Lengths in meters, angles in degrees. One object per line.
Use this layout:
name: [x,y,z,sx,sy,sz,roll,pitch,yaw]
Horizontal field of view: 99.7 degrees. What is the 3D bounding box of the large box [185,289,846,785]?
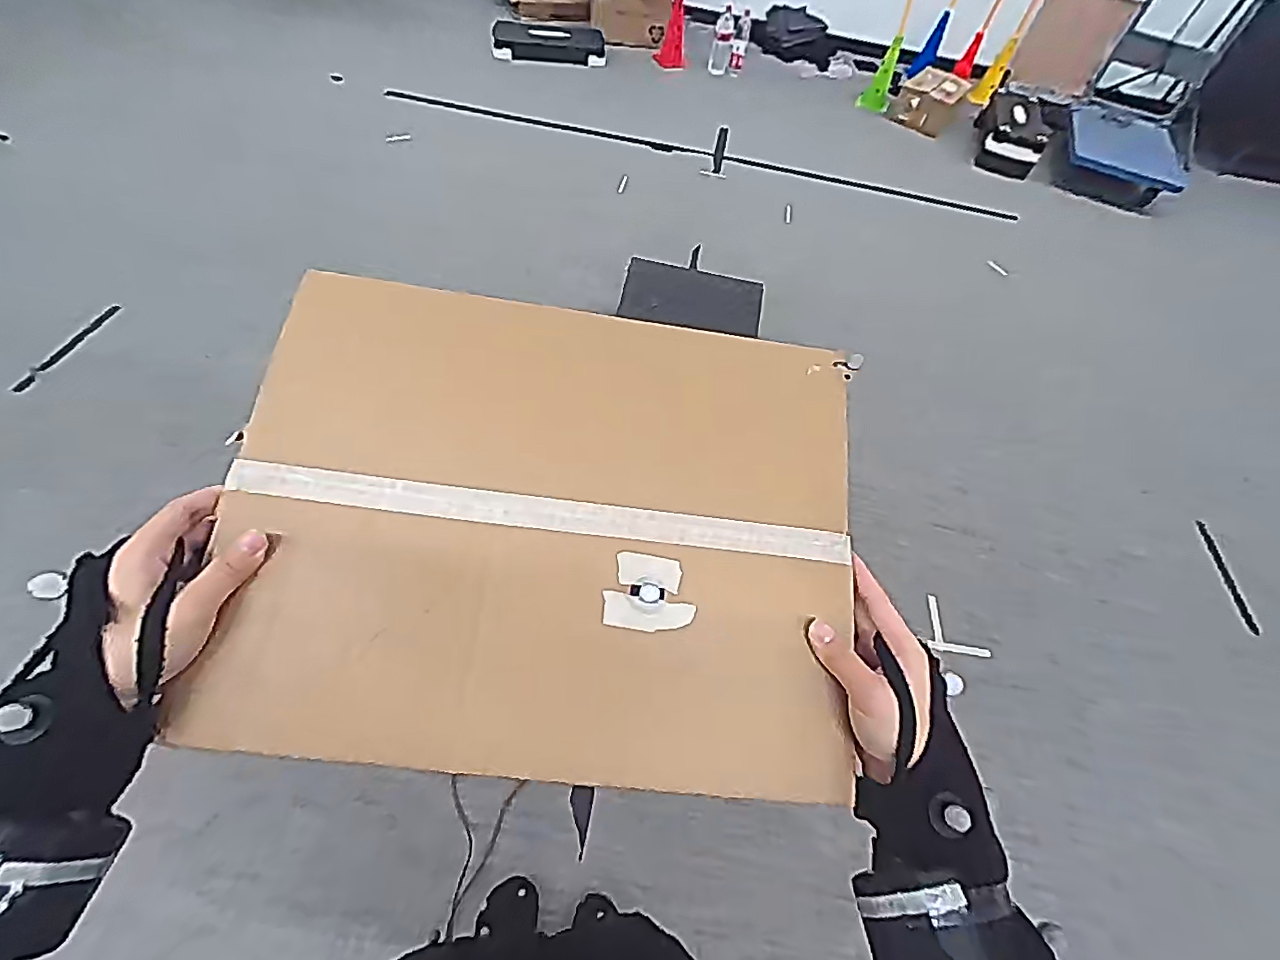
large box: [-0.070,0.069,0.511,0.408,0.320,0.320,8,72,-4]
